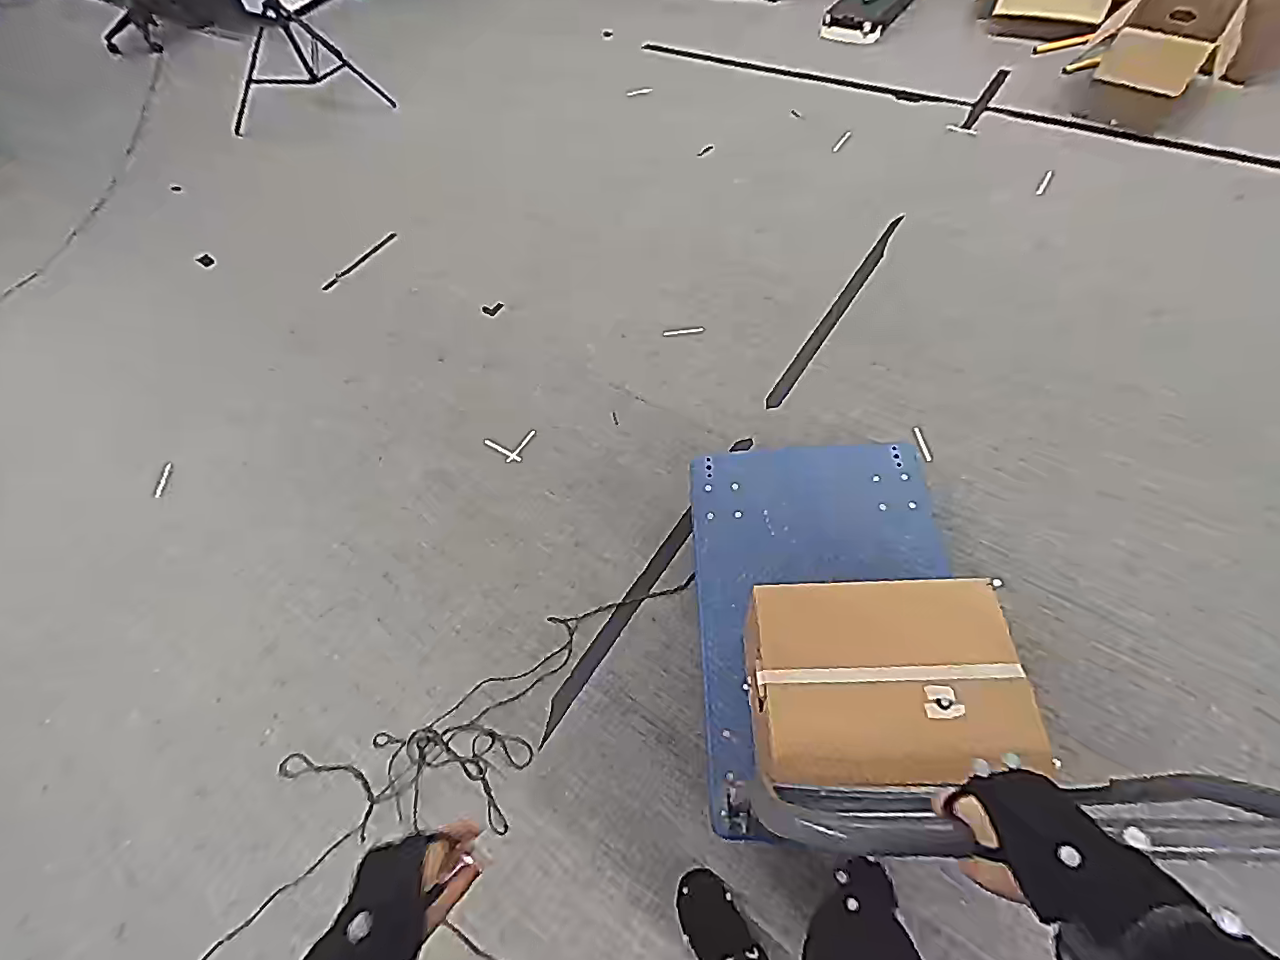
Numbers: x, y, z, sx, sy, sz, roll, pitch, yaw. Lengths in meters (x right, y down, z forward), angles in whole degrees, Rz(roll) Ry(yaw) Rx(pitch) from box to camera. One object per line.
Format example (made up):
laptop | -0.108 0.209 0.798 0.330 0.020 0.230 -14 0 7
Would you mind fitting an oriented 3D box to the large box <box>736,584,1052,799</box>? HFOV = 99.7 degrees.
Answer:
large box | 0.401 0.396 0.984 0.408 0.320 0.320 -3 60 4
